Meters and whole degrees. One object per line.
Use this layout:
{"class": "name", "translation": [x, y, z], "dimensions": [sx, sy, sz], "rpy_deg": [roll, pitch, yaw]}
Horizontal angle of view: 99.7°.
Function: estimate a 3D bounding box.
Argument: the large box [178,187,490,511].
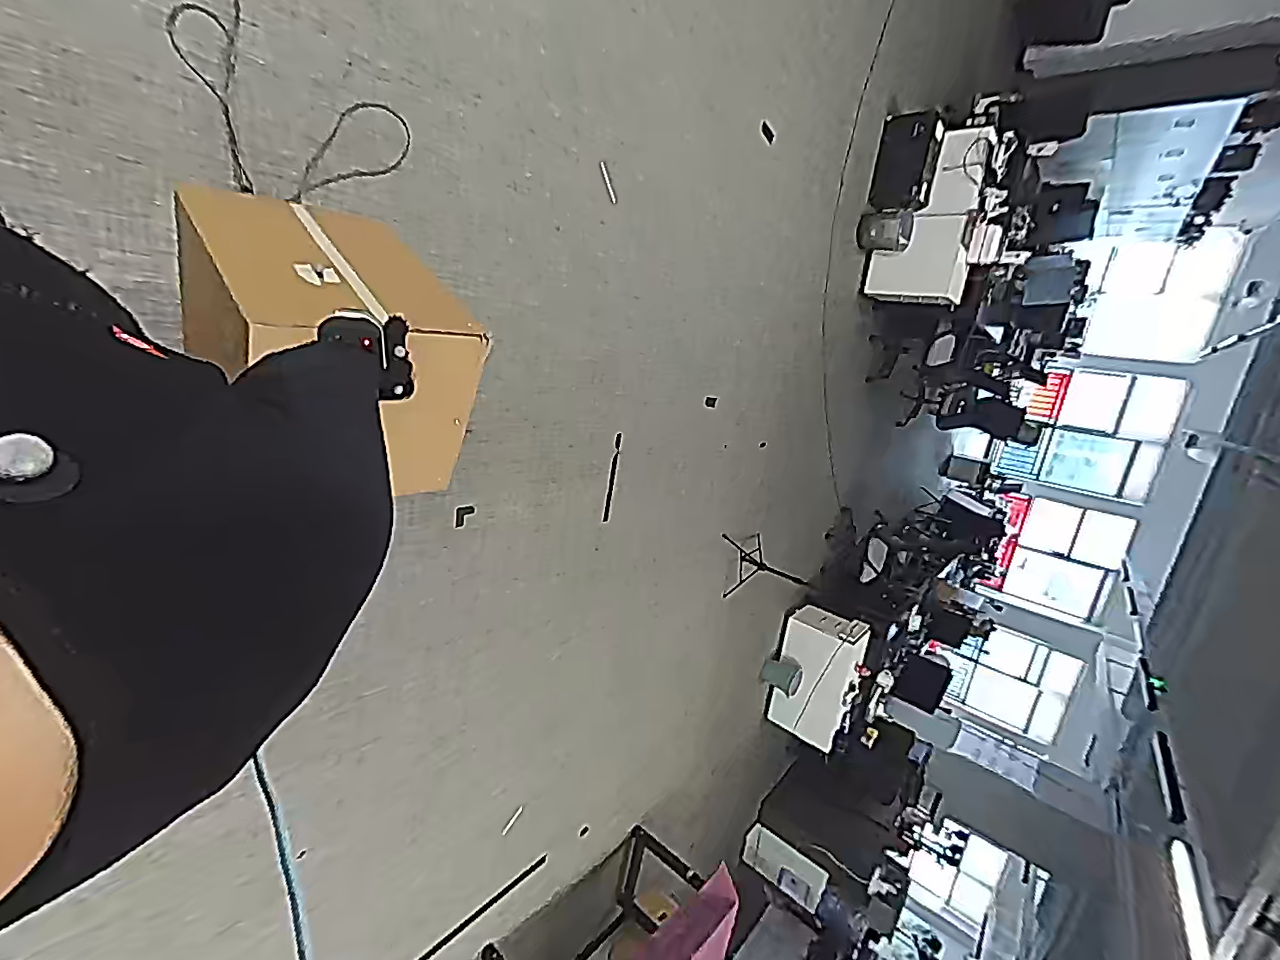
{"class": "large box", "translation": [-0.519, -0.213, 0.899], "dimensions": [0.320, 0.408, 0.320], "rpy_deg": [-13, 142, -45]}
